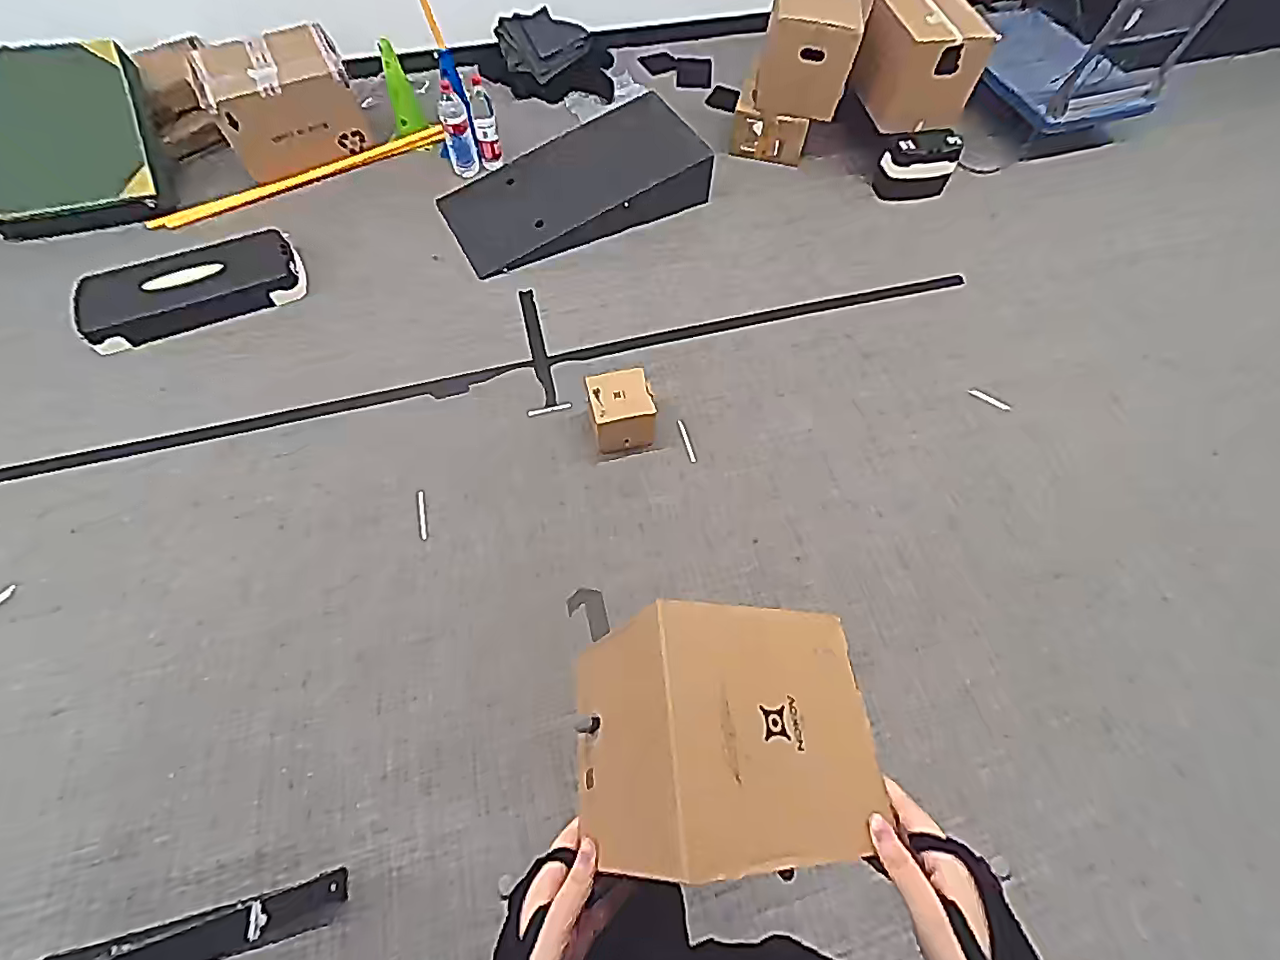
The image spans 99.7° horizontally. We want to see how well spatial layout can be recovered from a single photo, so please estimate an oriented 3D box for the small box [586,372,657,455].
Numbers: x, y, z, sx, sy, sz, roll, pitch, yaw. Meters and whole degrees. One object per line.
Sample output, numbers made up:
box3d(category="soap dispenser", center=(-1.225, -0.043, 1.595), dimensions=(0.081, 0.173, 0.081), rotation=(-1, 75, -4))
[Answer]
box3d(category="small box", center=(-0.059, -0.195, 1.601), dimensions=(0.179, 0.176, 0.168), rotation=(-11, 63, -9))
